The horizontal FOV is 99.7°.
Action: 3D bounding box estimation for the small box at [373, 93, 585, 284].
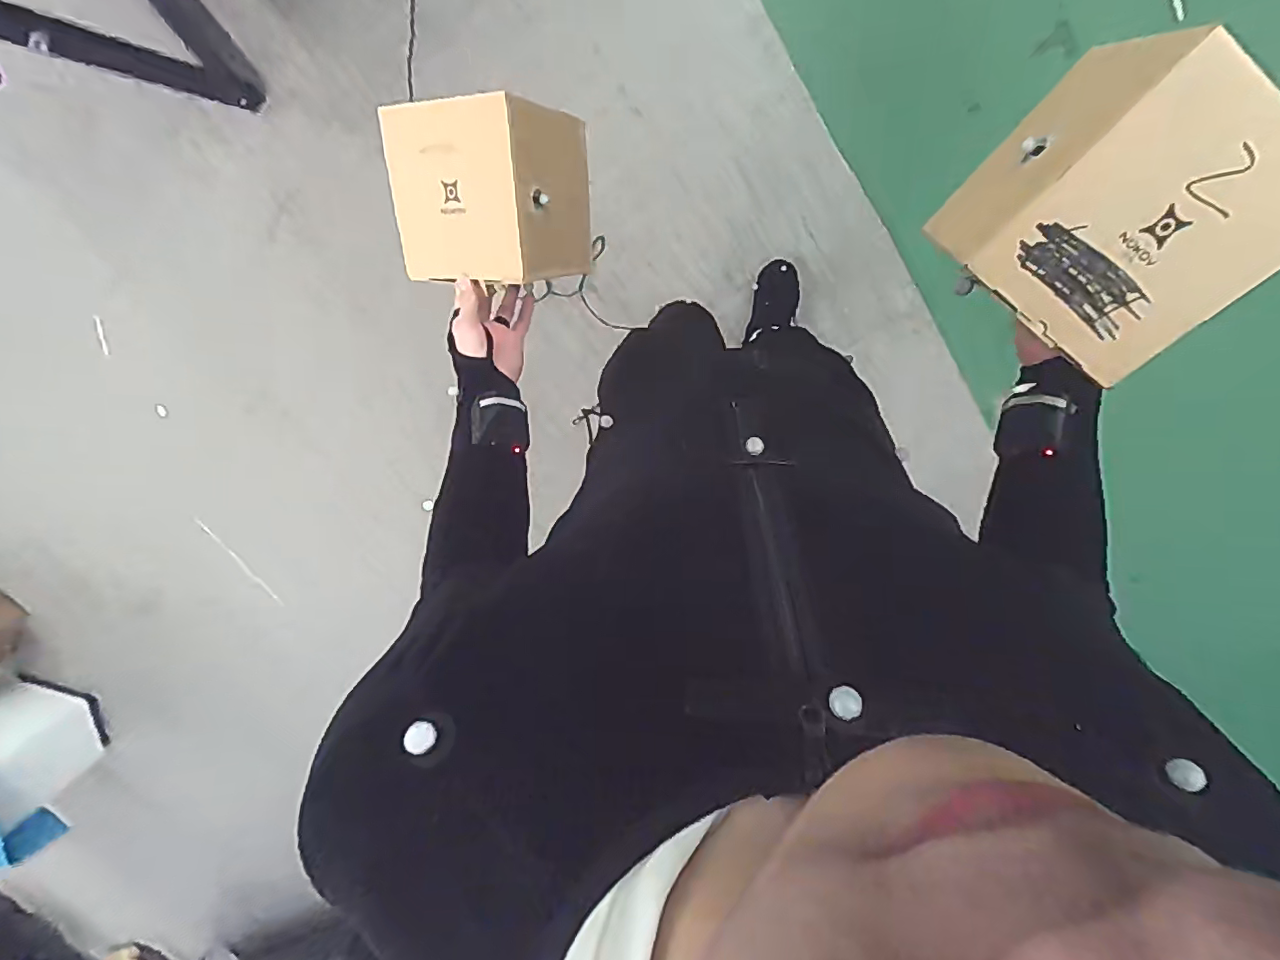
[{"bbox_3d":[-0.176,-0.336,0.647,0.168,0.176,0.179,9,117,20],"label":"small box"}]
